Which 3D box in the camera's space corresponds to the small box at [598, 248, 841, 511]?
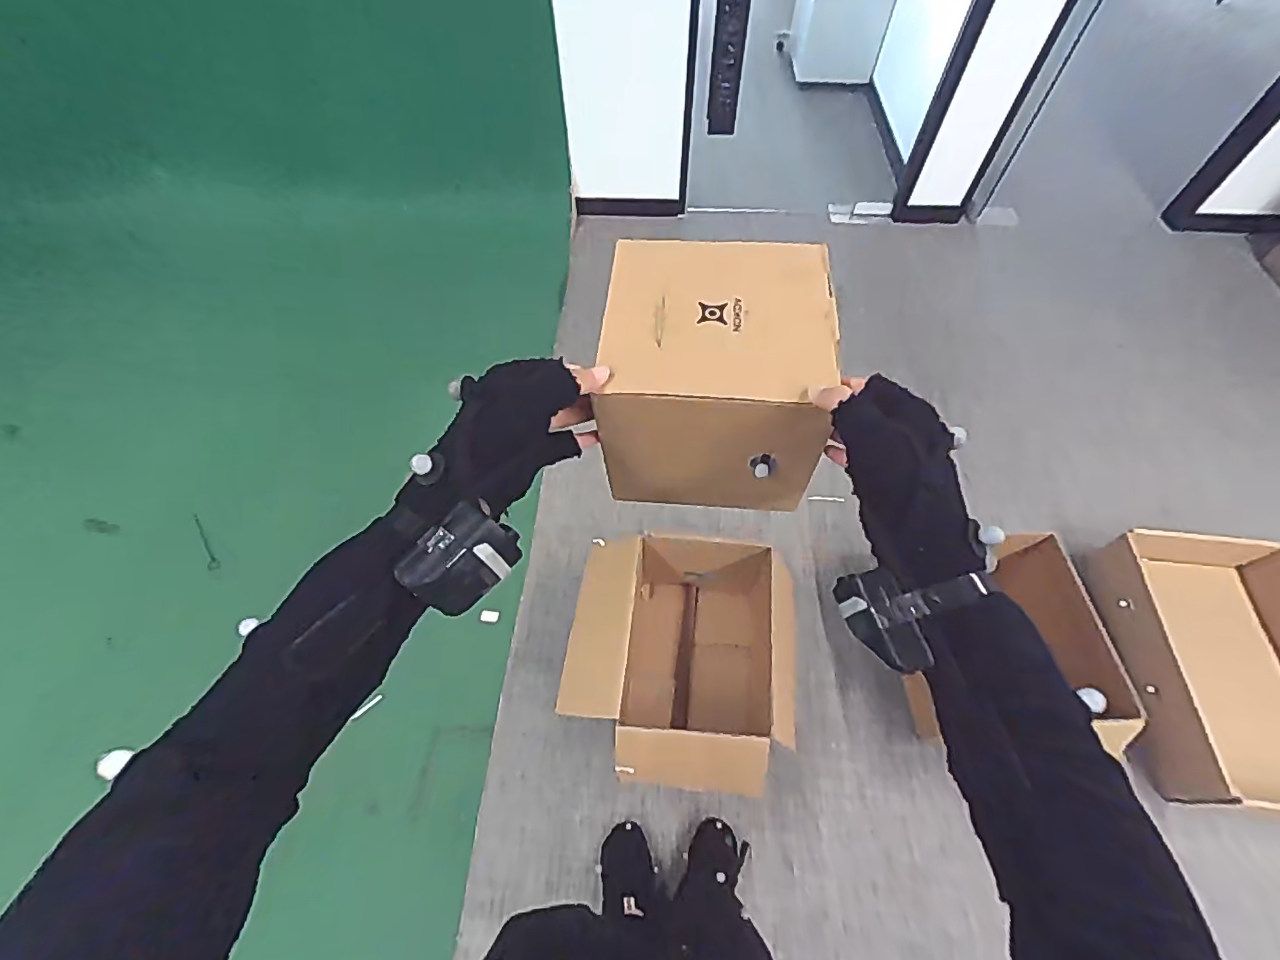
[{"bbox_3d":[0.066,-0.083,0.493,0.179,0.176,0.168,4,59,5],"label":"small box"}]
